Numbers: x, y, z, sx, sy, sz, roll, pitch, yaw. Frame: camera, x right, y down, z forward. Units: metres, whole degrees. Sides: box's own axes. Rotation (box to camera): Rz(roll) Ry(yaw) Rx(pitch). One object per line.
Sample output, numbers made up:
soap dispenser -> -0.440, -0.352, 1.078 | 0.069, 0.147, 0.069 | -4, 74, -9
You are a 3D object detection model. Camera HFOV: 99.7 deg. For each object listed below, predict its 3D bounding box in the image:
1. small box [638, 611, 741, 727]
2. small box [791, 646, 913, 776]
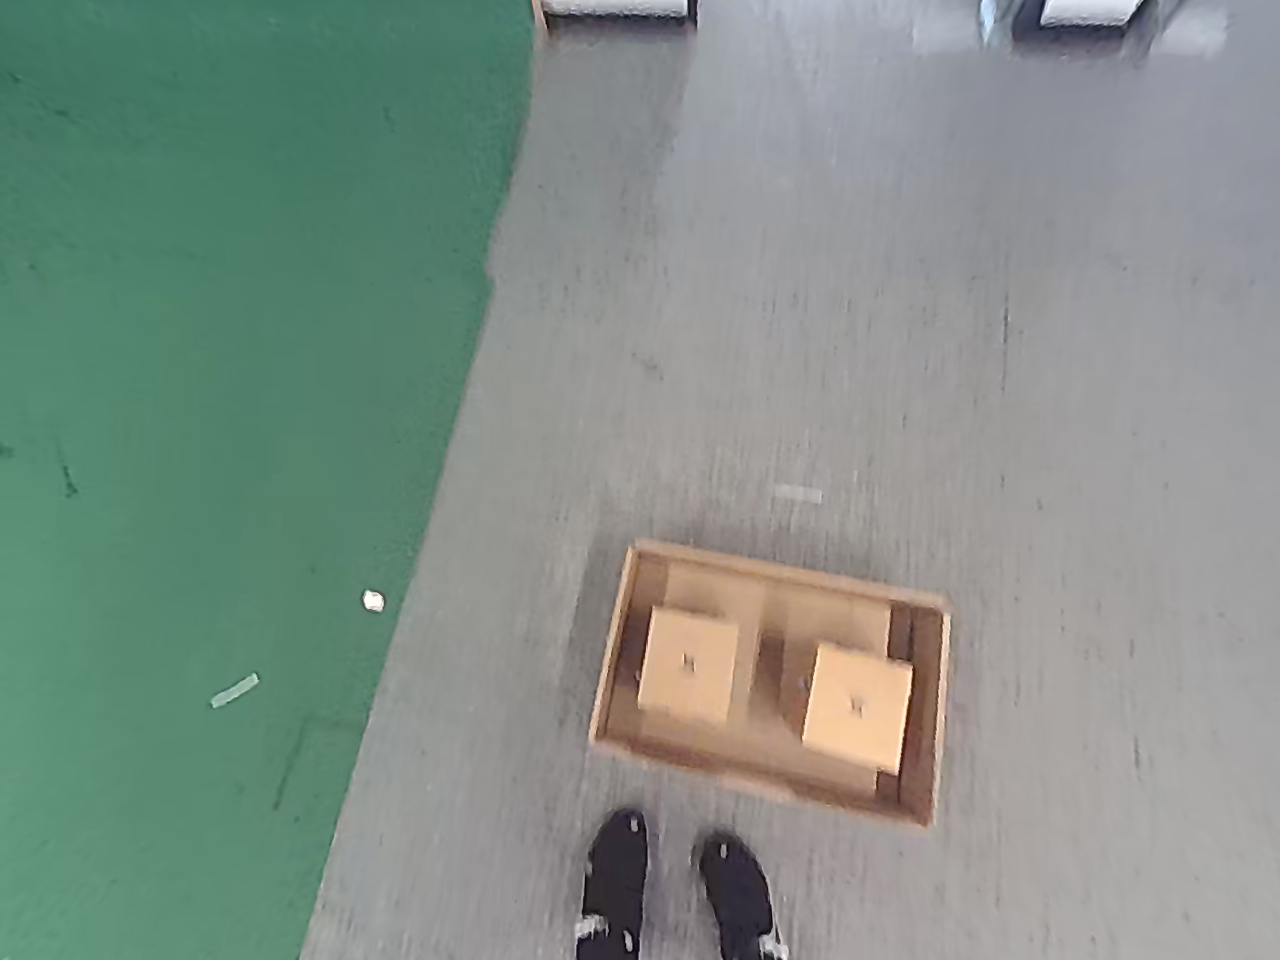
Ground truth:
small box -> 0.098, 0.366, 1.067 | 0.168, 0.176, 0.179 | 10, 75, 7
small box -> 0.390, 0.423, 1.022 | 0.168, 0.176, 0.179 | 13, 75, 10
